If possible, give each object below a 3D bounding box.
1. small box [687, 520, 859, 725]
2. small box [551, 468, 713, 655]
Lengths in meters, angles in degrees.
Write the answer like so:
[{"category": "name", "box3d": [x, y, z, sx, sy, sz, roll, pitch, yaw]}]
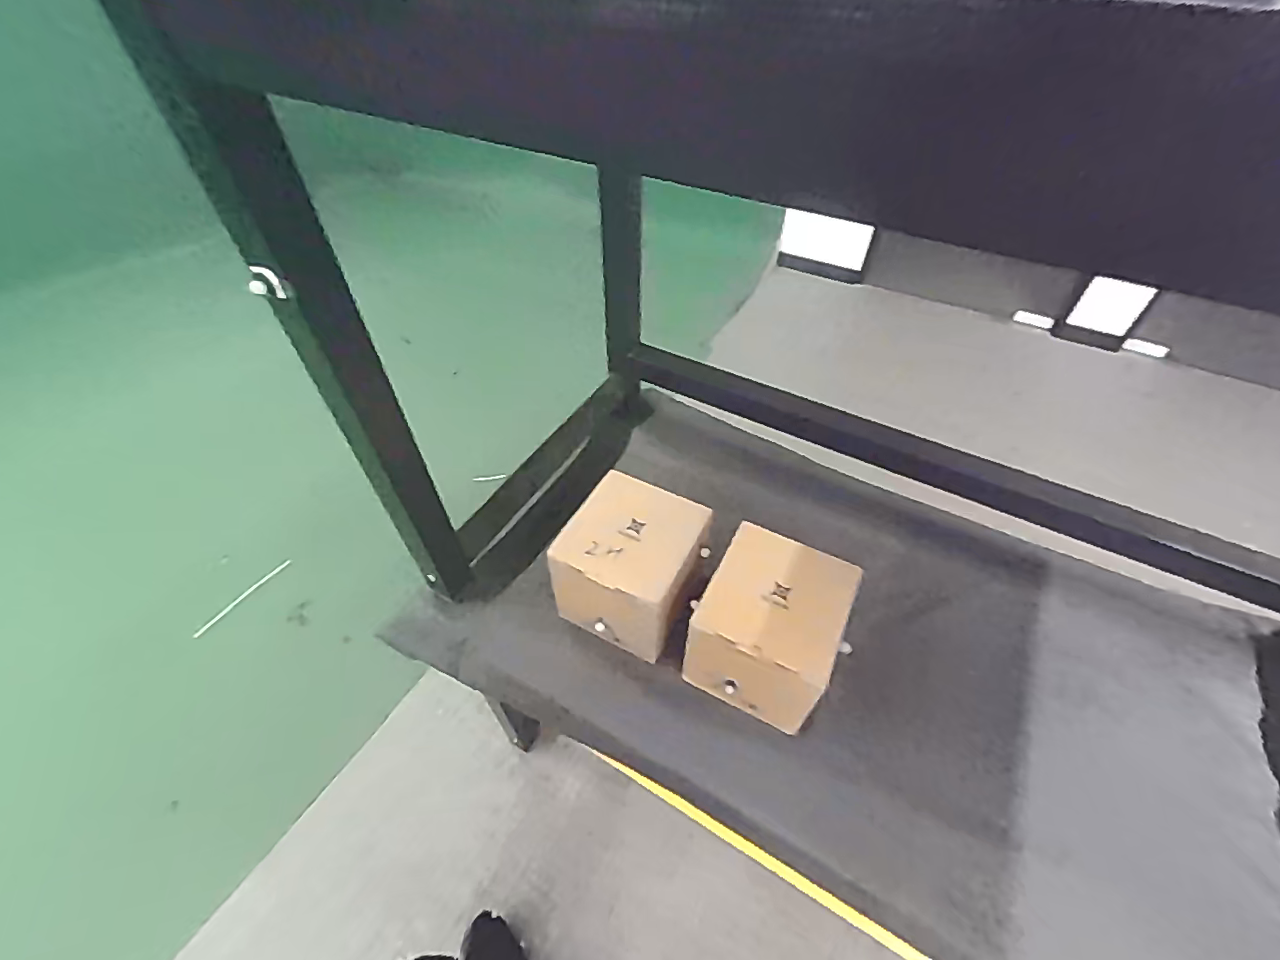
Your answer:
[{"category": "small box", "box3d": [0.171, 0.192, 0.731, 0.168, 0.176, 0.179, 22, 51, 19]}, {"category": "small box", "box3d": [-0.009, 0.119, 0.791, 0.168, 0.176, 0.179, 22, 51, 18]}]
